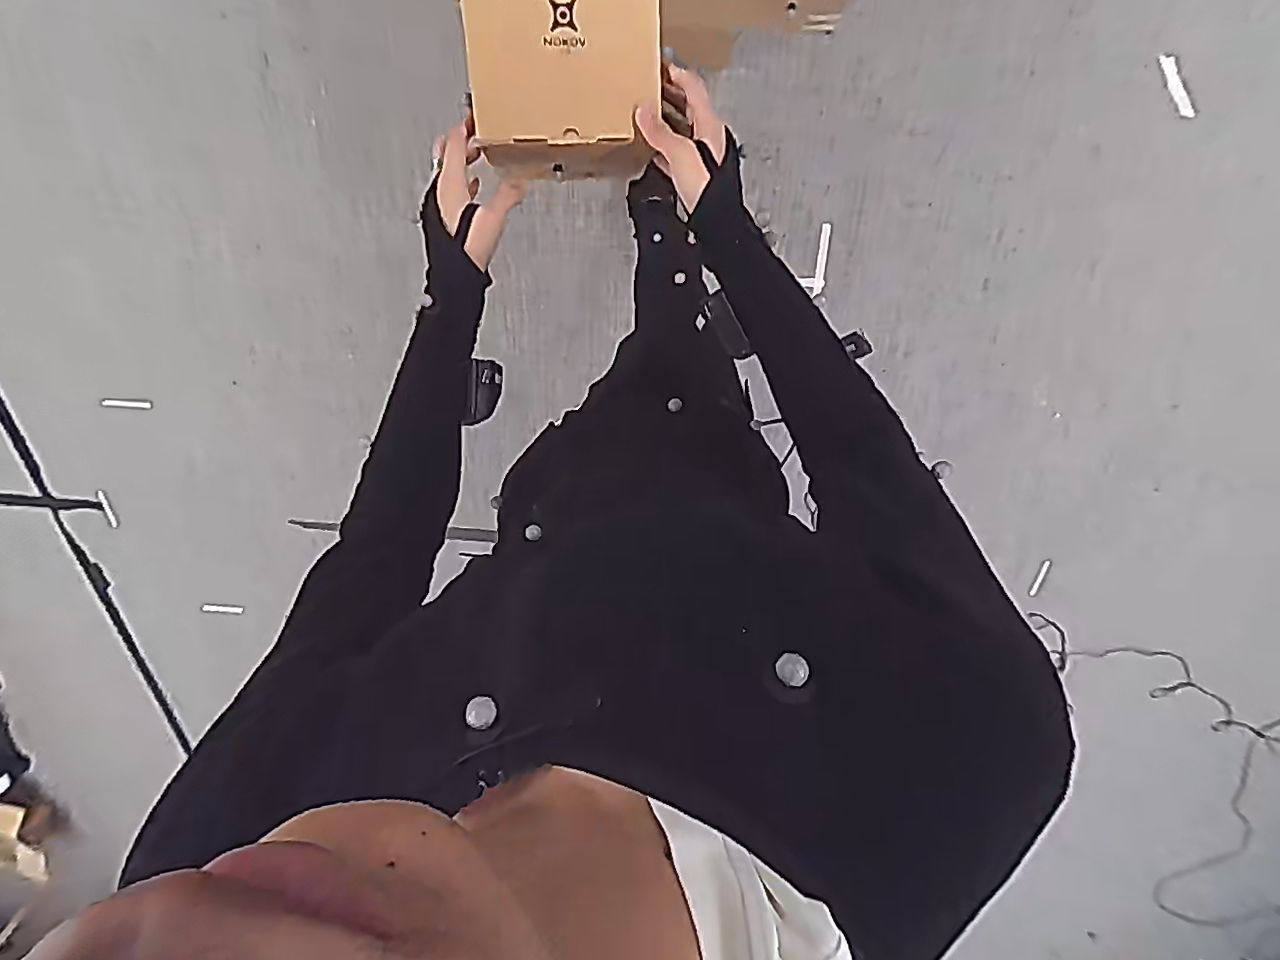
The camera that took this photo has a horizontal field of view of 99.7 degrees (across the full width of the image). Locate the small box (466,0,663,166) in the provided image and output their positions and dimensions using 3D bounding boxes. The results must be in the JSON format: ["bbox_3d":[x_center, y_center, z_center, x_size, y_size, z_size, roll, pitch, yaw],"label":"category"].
[{"bbox_3d":[-0.074,-0.421,0.526,0.168,0.176,0.179,-5,111,-7],"label":"small box"}]
